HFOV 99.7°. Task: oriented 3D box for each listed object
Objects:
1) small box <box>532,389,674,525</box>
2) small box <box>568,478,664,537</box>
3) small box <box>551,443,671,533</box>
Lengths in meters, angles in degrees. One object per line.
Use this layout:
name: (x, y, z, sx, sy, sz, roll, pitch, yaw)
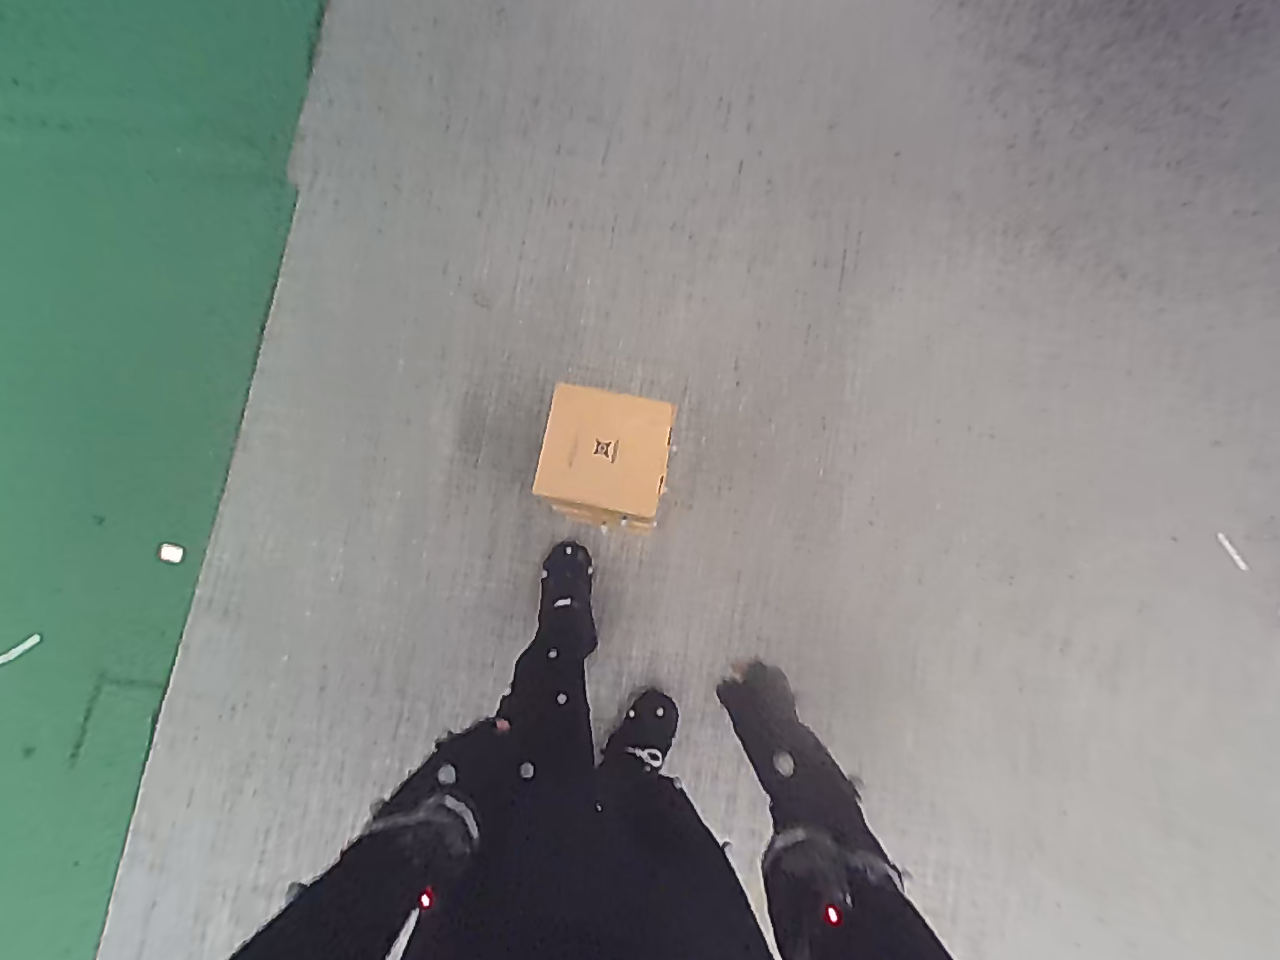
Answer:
small box: (-0.051, -0.026, 0.839, 0.179, 0.176, 0.168, 10, 82, 2)
small box: (-0.047, 0.028, 1.160, 0.179, 0.176, 0.168, 9, 83, 0)
small box: (-0.050, 0.000, 0.999, 0.179, 0.176, 0.168, 12, 83, 1)
